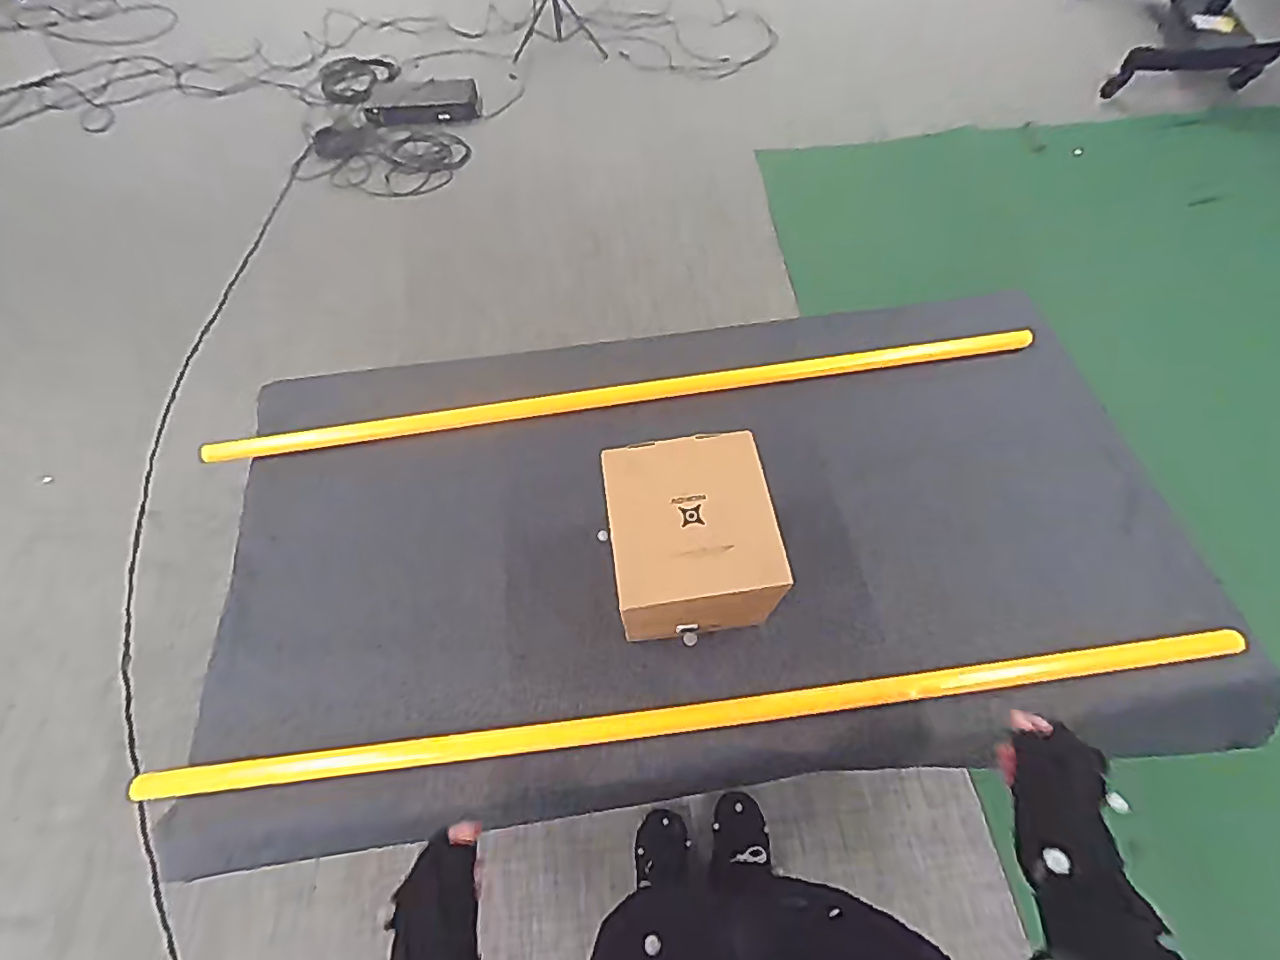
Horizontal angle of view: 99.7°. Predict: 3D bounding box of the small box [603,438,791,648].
[{"bbox_3d":[0.053,0.077,0.616,0.168,0.176,0.179,-9,63,-2],"label":"small box"}]
